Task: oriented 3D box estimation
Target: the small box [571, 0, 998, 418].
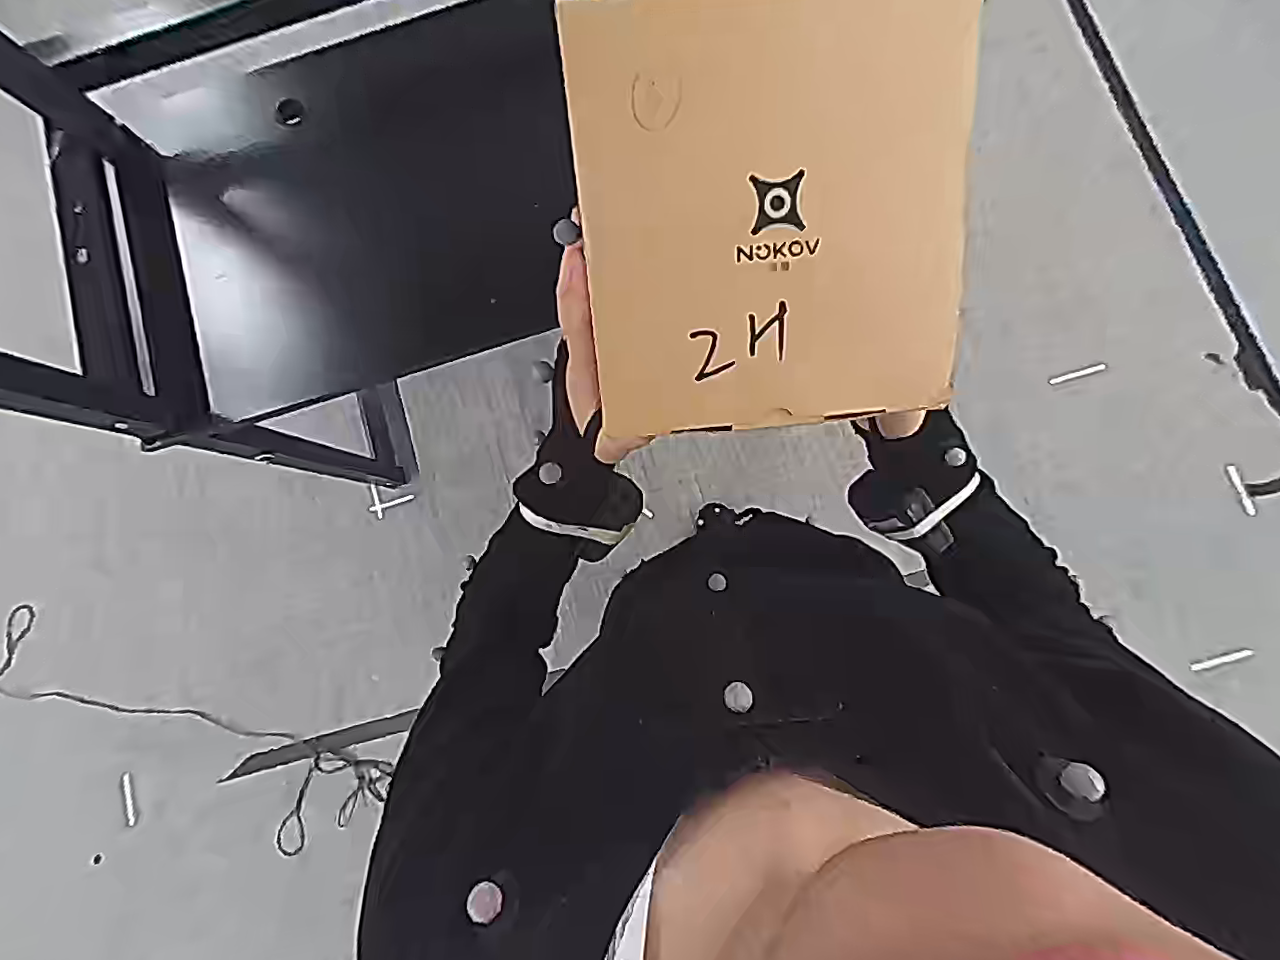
[{"bbox_3d":[0.056,-0.141,0.300,0.168,0.176,0.179,-5,109,0],"label":"small box"}]
